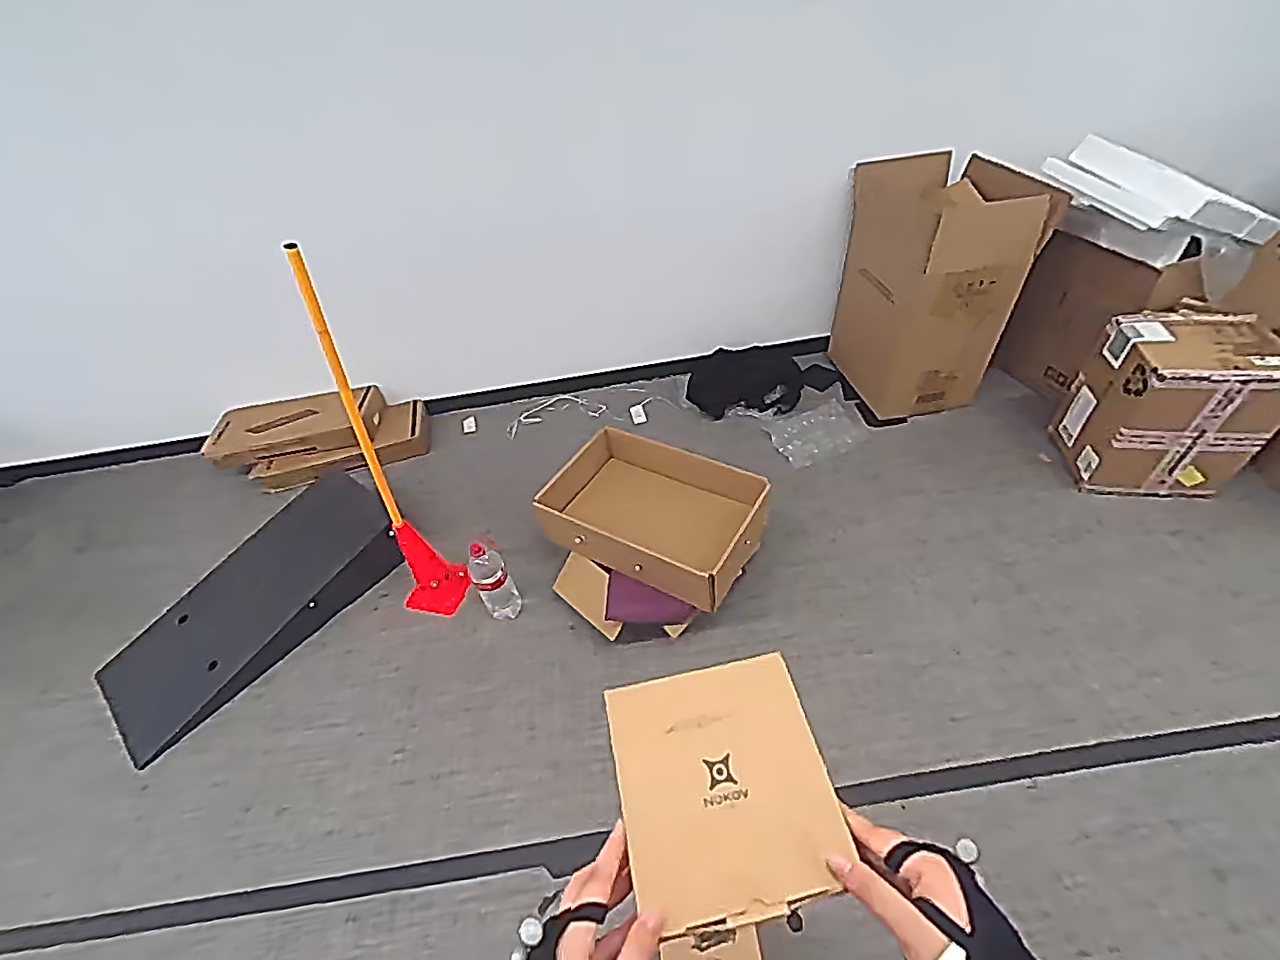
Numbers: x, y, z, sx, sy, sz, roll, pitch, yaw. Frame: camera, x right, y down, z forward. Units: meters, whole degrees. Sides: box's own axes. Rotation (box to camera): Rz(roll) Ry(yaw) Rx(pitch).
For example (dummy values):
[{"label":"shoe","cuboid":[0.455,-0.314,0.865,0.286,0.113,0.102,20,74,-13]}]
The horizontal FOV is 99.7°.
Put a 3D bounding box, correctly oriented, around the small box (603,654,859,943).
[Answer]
[{"label":"small box","cuboid":[0.067,0.288,0.491,0.168,0.176,0.179,-10,49,-6]}]
